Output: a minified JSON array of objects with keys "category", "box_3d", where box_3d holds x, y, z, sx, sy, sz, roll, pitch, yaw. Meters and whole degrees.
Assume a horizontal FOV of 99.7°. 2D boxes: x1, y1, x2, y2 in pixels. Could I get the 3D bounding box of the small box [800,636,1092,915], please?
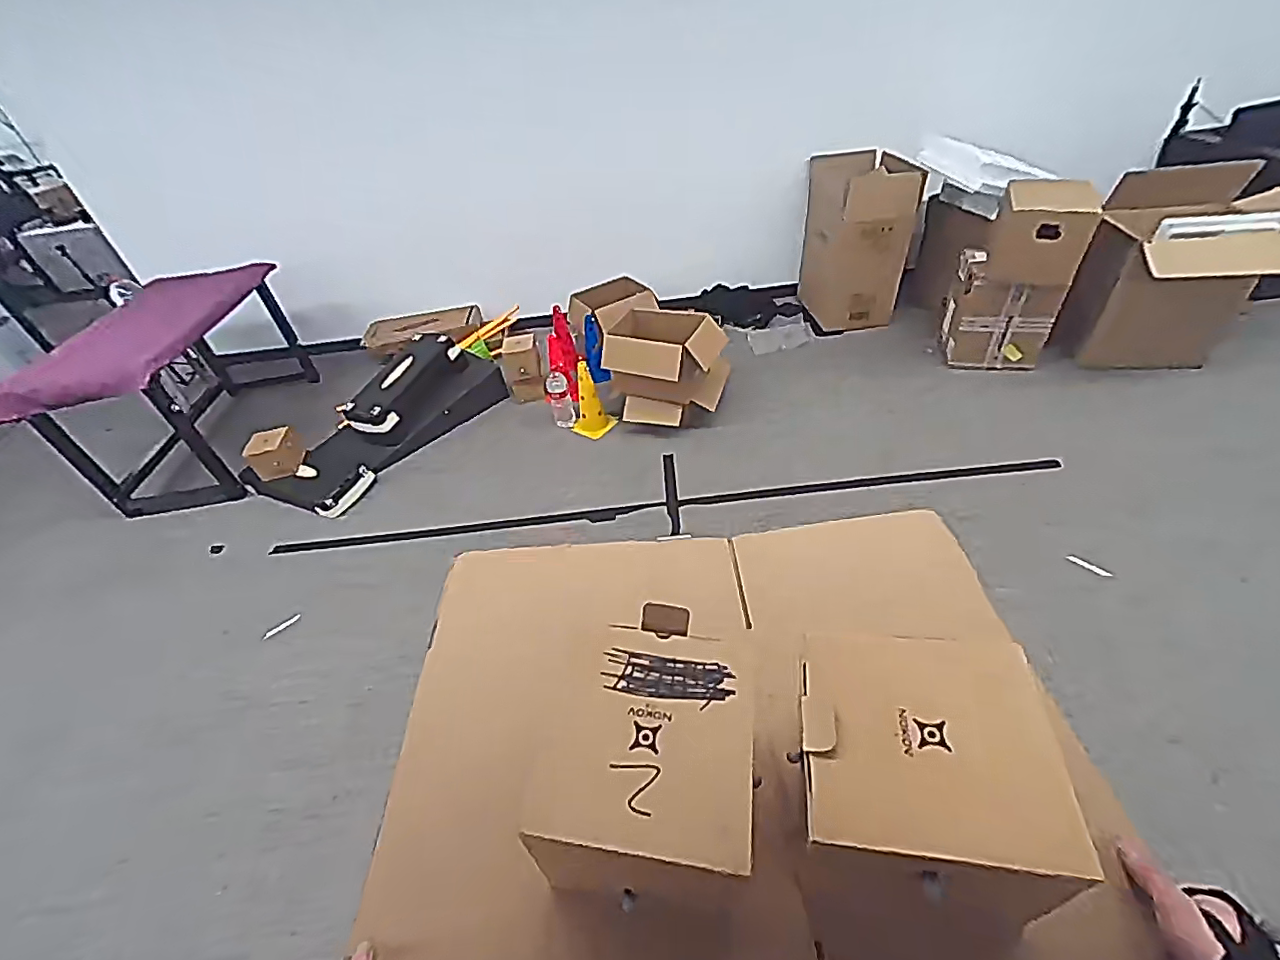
[{"category":"small box","box_3d":[0.236,0.257,0.475,0.179,0.176,0.168,-2,43,15]}]
